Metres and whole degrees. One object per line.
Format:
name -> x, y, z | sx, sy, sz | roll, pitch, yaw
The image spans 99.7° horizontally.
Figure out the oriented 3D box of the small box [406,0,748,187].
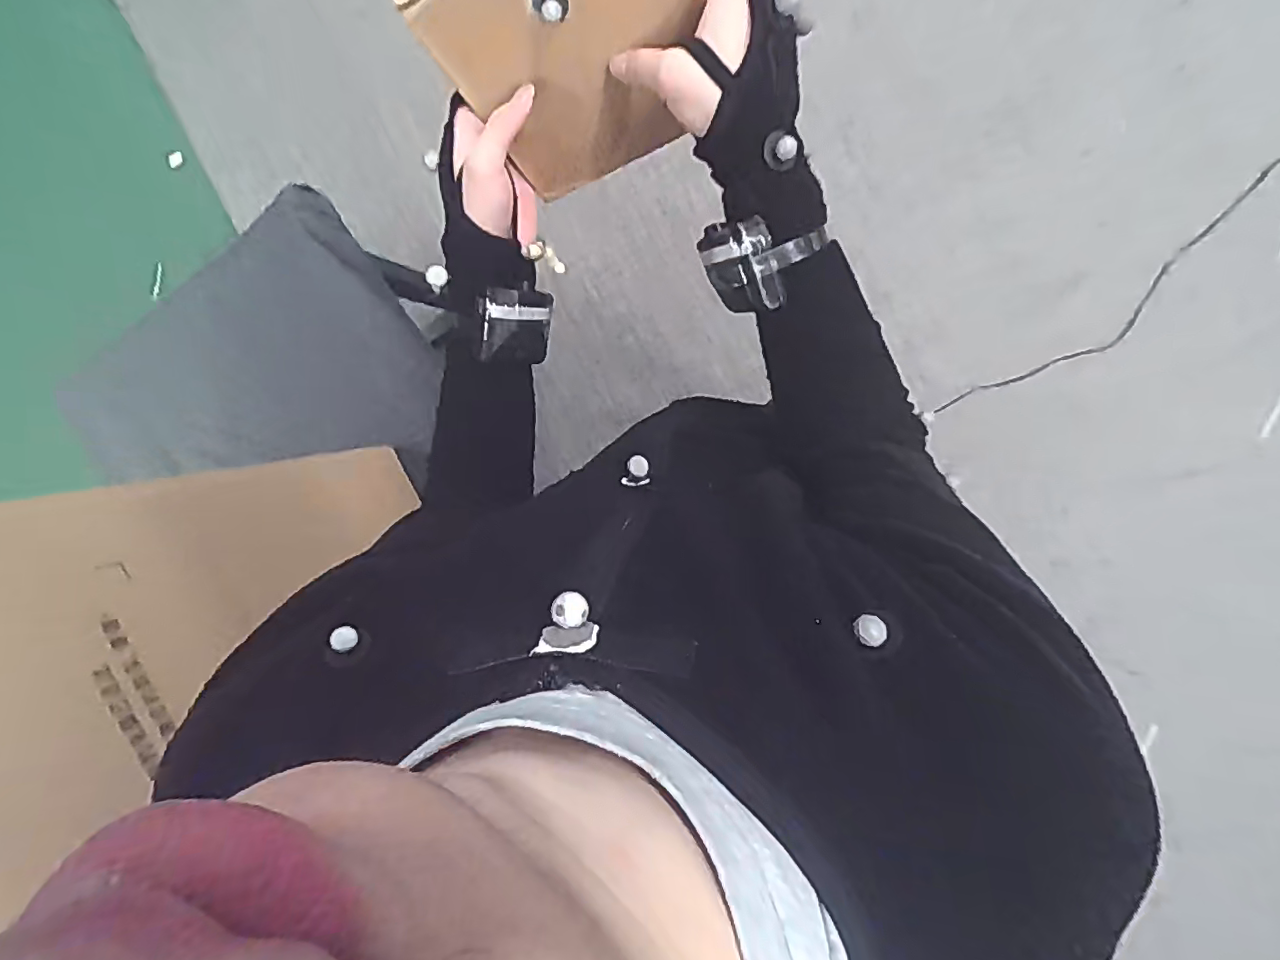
small box -> -0.041, -0.345, 0.368 | 0.179, 0.176, 0.168 | -16, 70, 17
